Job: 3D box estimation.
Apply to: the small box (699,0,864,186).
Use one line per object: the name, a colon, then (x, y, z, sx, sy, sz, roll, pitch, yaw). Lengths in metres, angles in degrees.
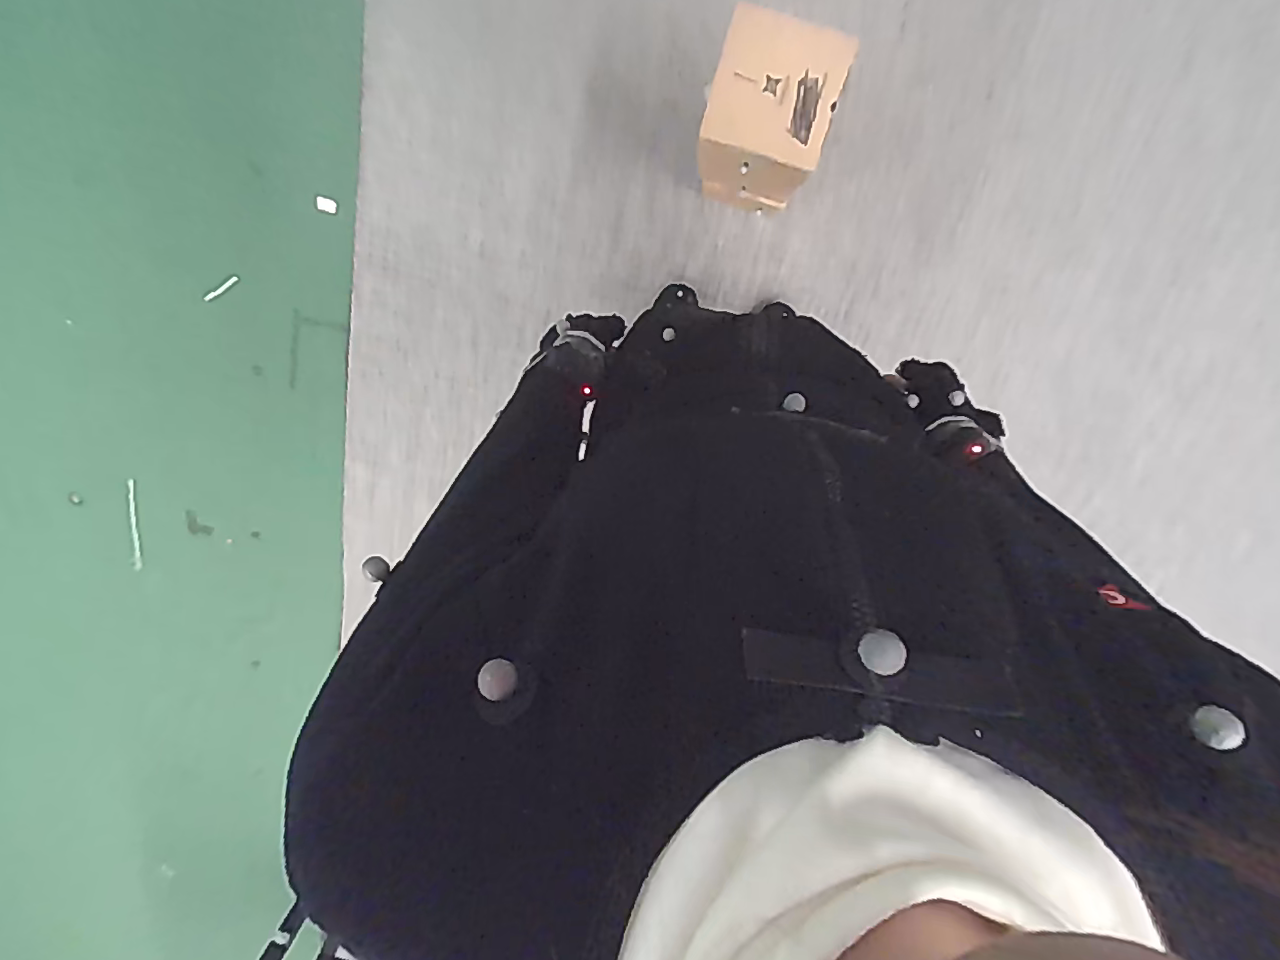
small box: (0.199, -0.567, 0.818, 0.179, 0.176, 0.168, 21, 109, -2)

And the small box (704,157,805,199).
small box: (0.222, -0.623, 0.974, 0.179, 0.176, 0.168, 18, 111, -1)
